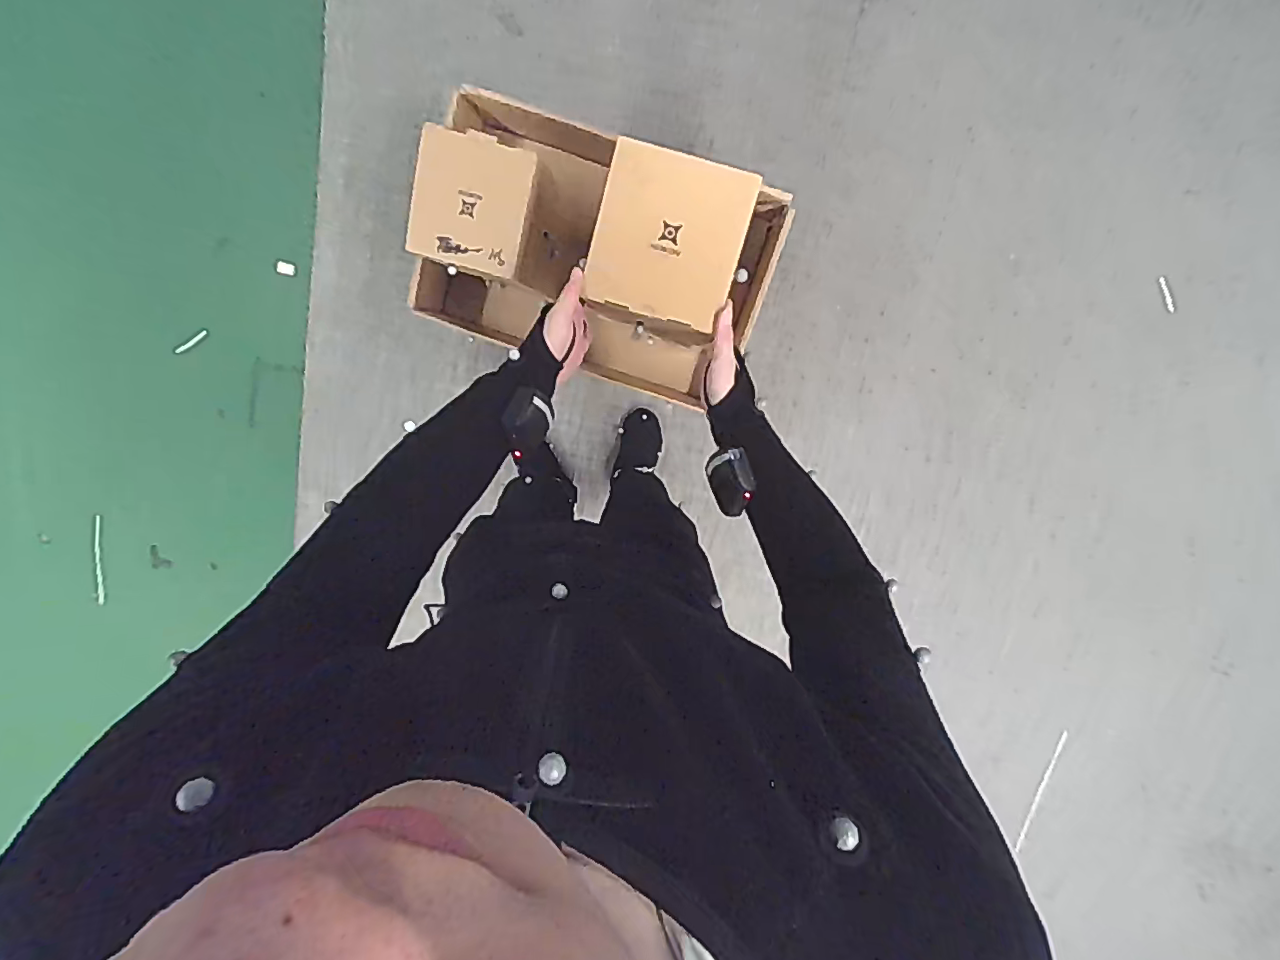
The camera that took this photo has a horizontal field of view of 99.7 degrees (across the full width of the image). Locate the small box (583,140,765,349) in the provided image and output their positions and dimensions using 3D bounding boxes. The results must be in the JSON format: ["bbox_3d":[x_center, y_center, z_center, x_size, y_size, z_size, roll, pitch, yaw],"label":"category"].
[{"bbox_3d":[0.037,-0.274,0.672,0.168,0.176,0.179,16,100,-1],"label":"small box"}]

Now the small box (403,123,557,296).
[{"bbox_3d":[-0.235,-0.402,0.836,0.168,0.176,0.179,16,102,0],"label":"small box"}]
